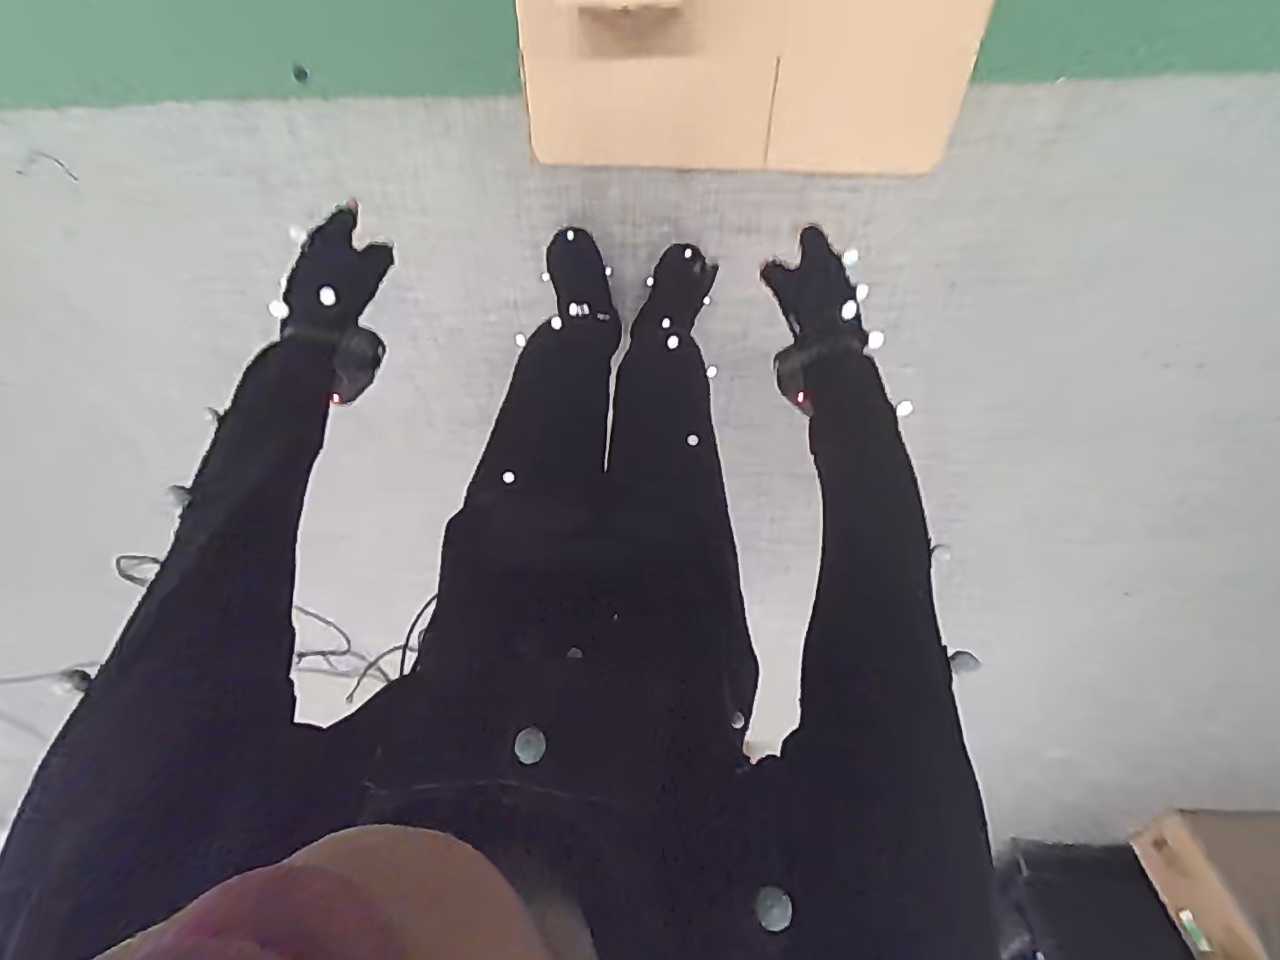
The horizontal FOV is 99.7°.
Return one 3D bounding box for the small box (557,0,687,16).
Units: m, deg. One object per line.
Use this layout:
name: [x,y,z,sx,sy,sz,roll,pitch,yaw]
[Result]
small box: [-0.019,-0.712,0.690,0.168,0.176,0.179,2,130,4]
